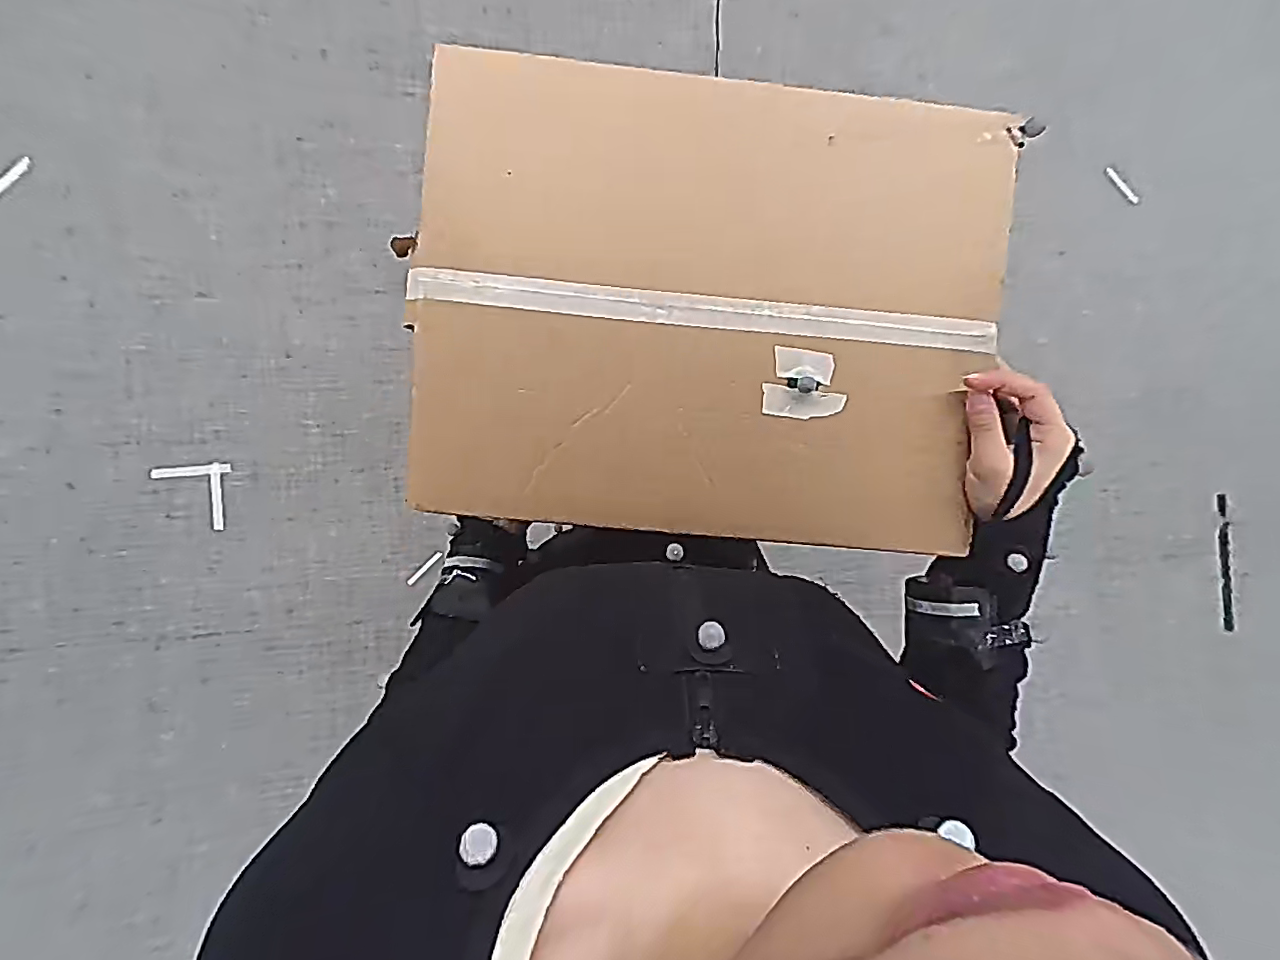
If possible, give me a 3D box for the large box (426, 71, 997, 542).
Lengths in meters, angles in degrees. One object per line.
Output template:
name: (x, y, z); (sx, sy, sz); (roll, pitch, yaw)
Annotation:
large box: (0.043, -0.124, 0.535); (0.408, 0.320, 0.320); (4, 94, -3)
